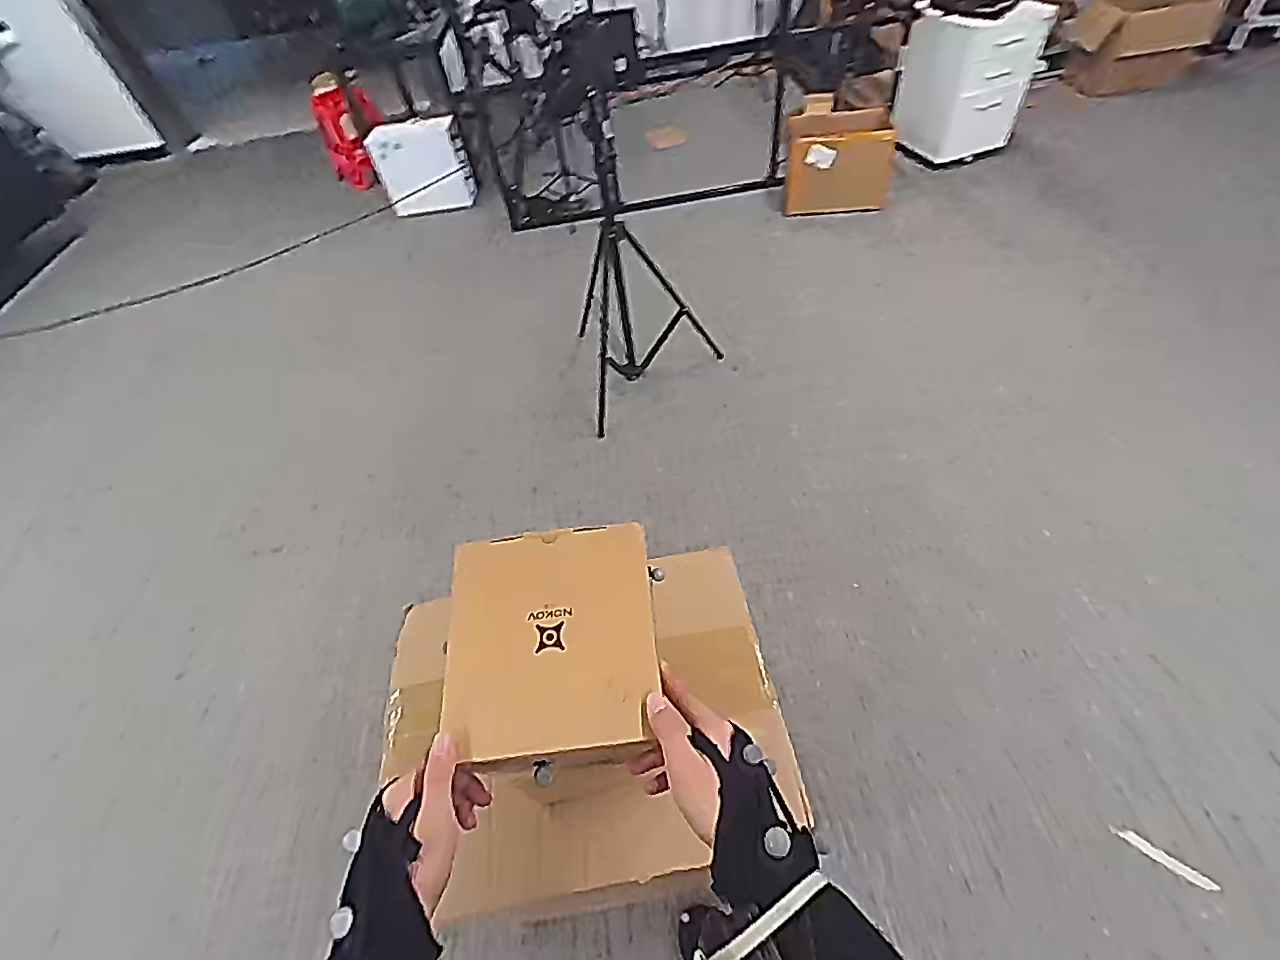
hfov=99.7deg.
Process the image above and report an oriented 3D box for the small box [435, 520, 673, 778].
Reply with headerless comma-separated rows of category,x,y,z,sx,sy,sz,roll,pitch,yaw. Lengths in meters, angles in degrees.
small box,-0.063,0.158,0.480,0.168,0.176,0.179,-7,57,0
